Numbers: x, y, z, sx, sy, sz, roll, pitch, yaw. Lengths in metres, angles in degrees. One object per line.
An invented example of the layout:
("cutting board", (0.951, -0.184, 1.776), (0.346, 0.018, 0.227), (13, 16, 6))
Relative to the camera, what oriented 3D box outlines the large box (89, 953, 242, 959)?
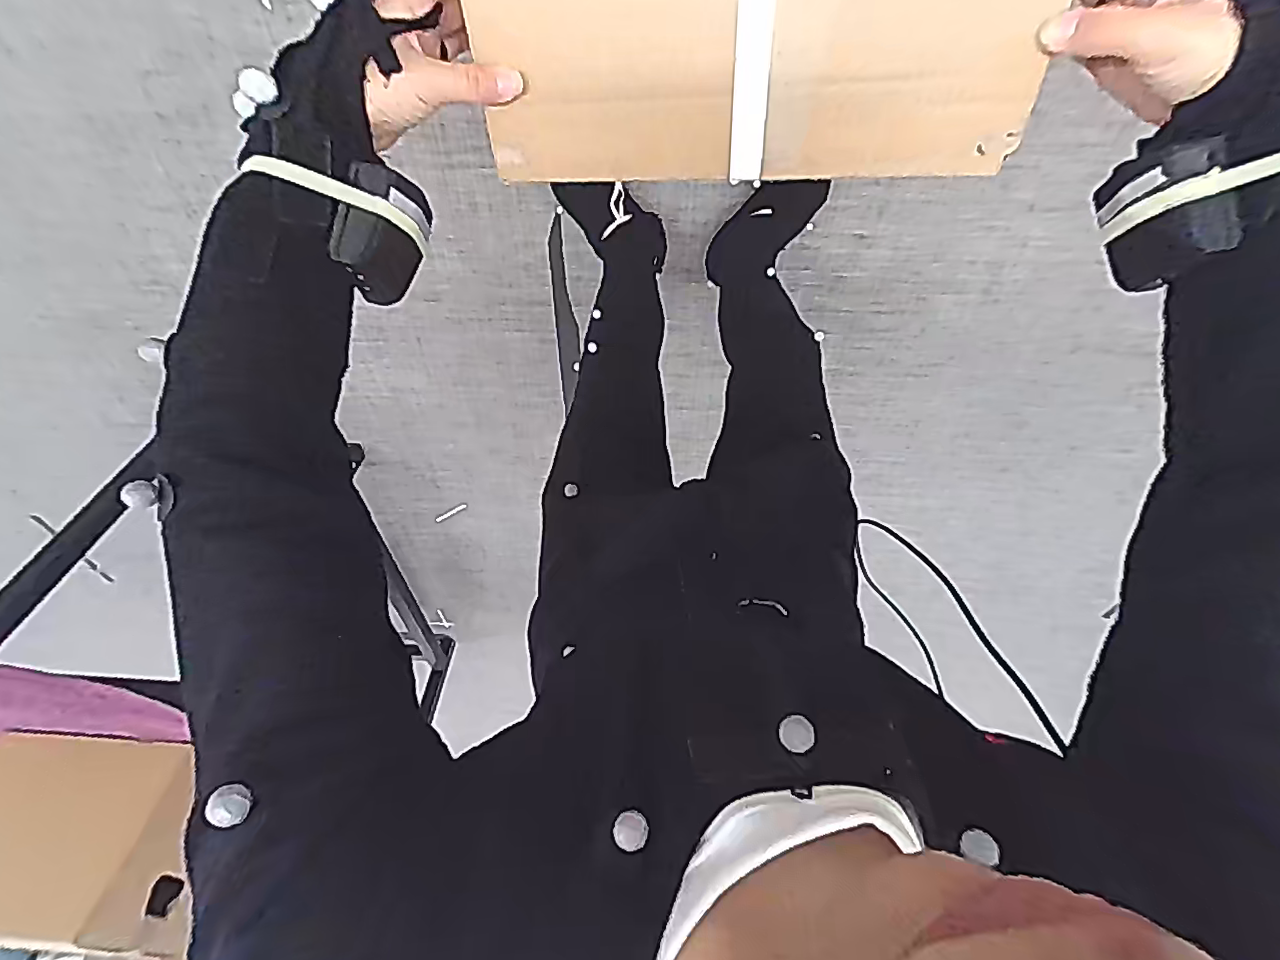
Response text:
("large box", (-1.091, 1.321, 1.256), (0.408, 0.320, 0.320), (2, 138, 1))
